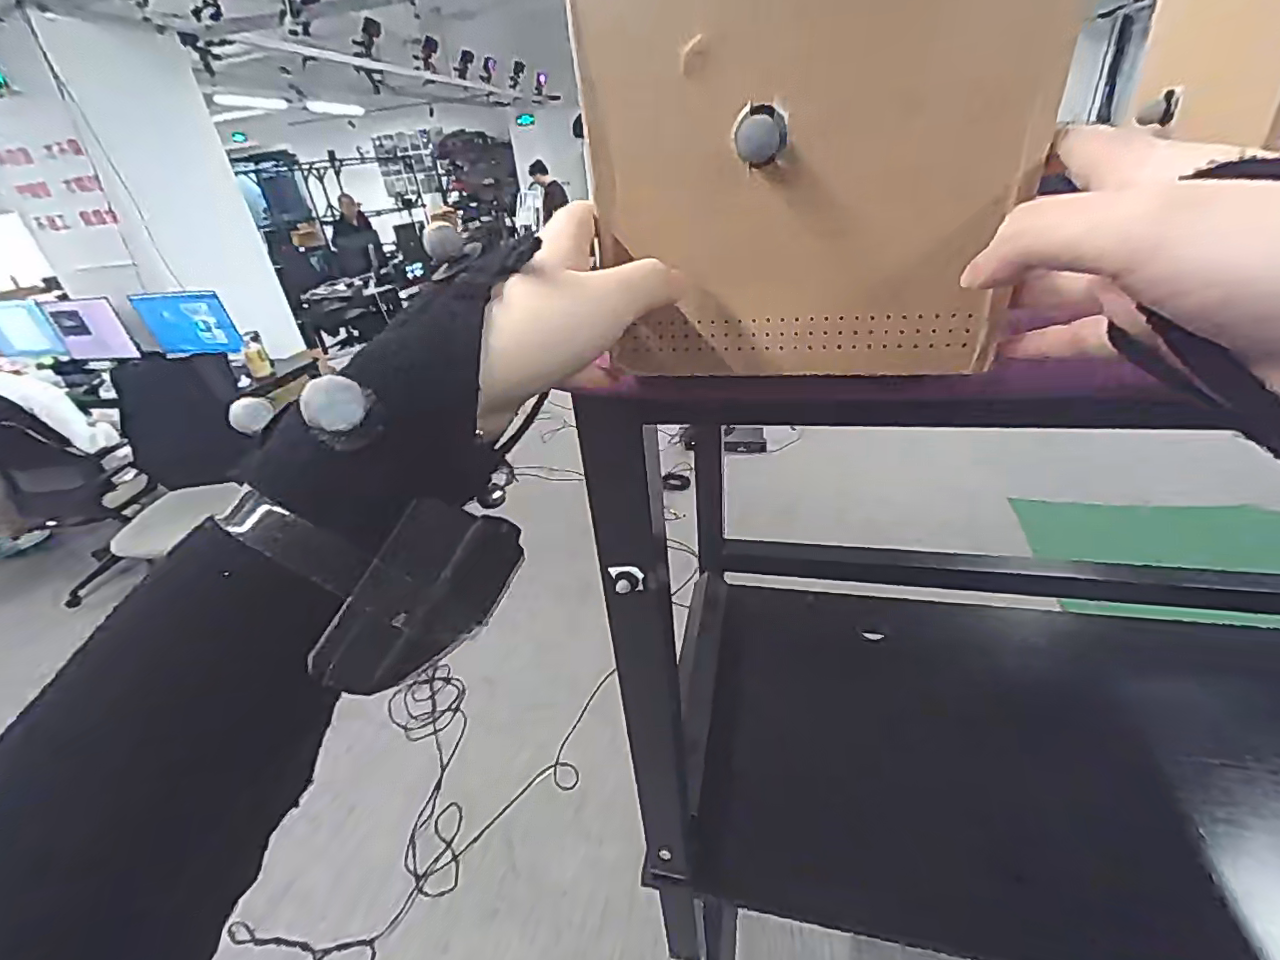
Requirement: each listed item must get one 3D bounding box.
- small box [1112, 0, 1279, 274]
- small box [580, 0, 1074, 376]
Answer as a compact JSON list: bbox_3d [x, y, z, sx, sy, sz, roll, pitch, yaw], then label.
[{"bbox_3d":[0.438,-0.227,0.331,0.179,0.176,0.168,3,31,15],"label":"small box"},{"bbox_3d":[0.084,-0.159,0.278,0.179,0.176,0.168,2,33,14],"label":"small box"}]
